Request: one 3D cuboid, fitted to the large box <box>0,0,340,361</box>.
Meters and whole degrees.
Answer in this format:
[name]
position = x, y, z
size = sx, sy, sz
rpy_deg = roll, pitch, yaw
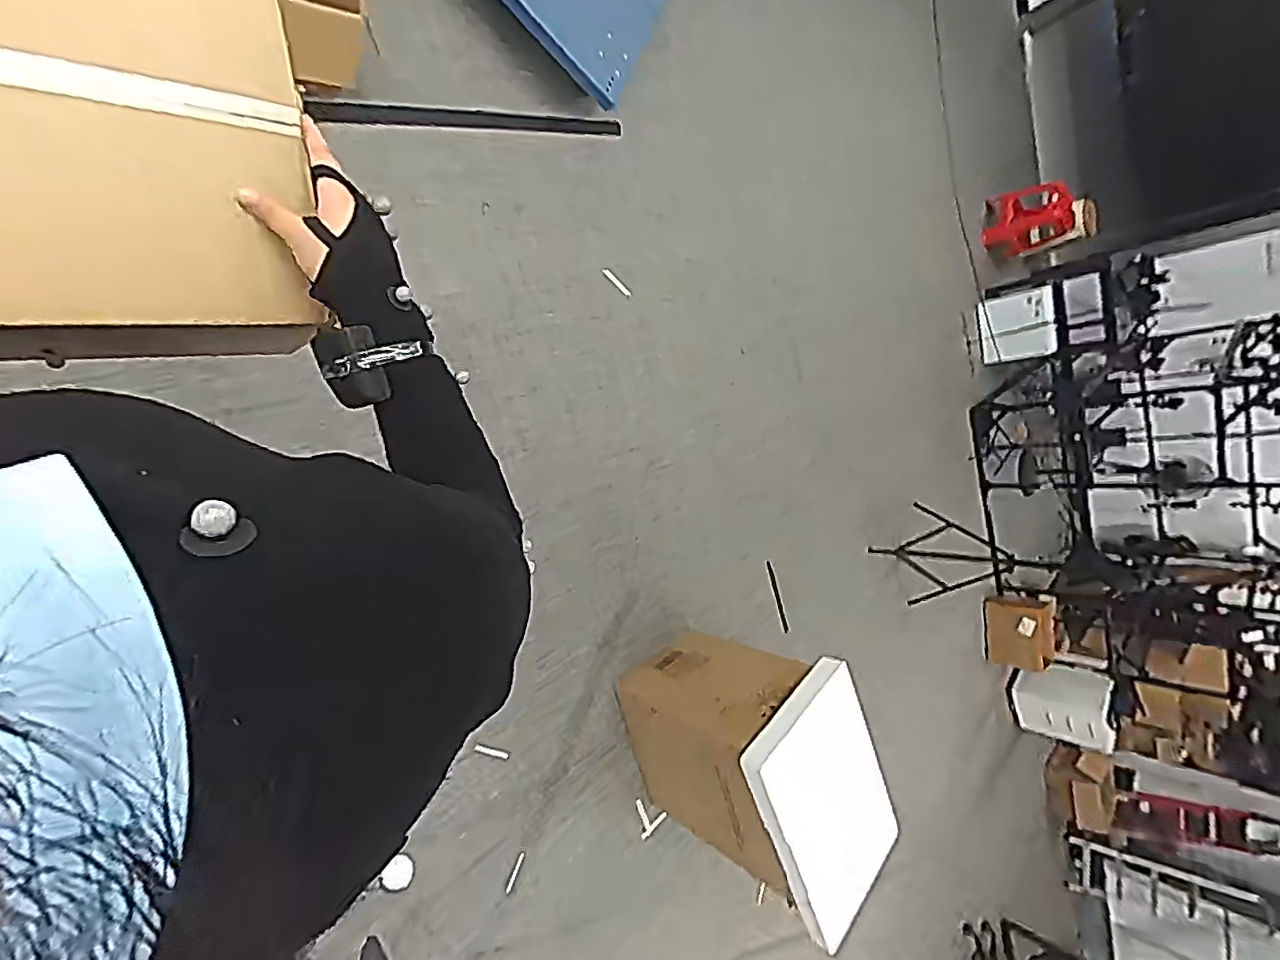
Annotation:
[large box]
position = -0.518, -0.265, 0.442
size = 0.408, 0.320, 0.320
rpy_deg = -12, 102, -37
